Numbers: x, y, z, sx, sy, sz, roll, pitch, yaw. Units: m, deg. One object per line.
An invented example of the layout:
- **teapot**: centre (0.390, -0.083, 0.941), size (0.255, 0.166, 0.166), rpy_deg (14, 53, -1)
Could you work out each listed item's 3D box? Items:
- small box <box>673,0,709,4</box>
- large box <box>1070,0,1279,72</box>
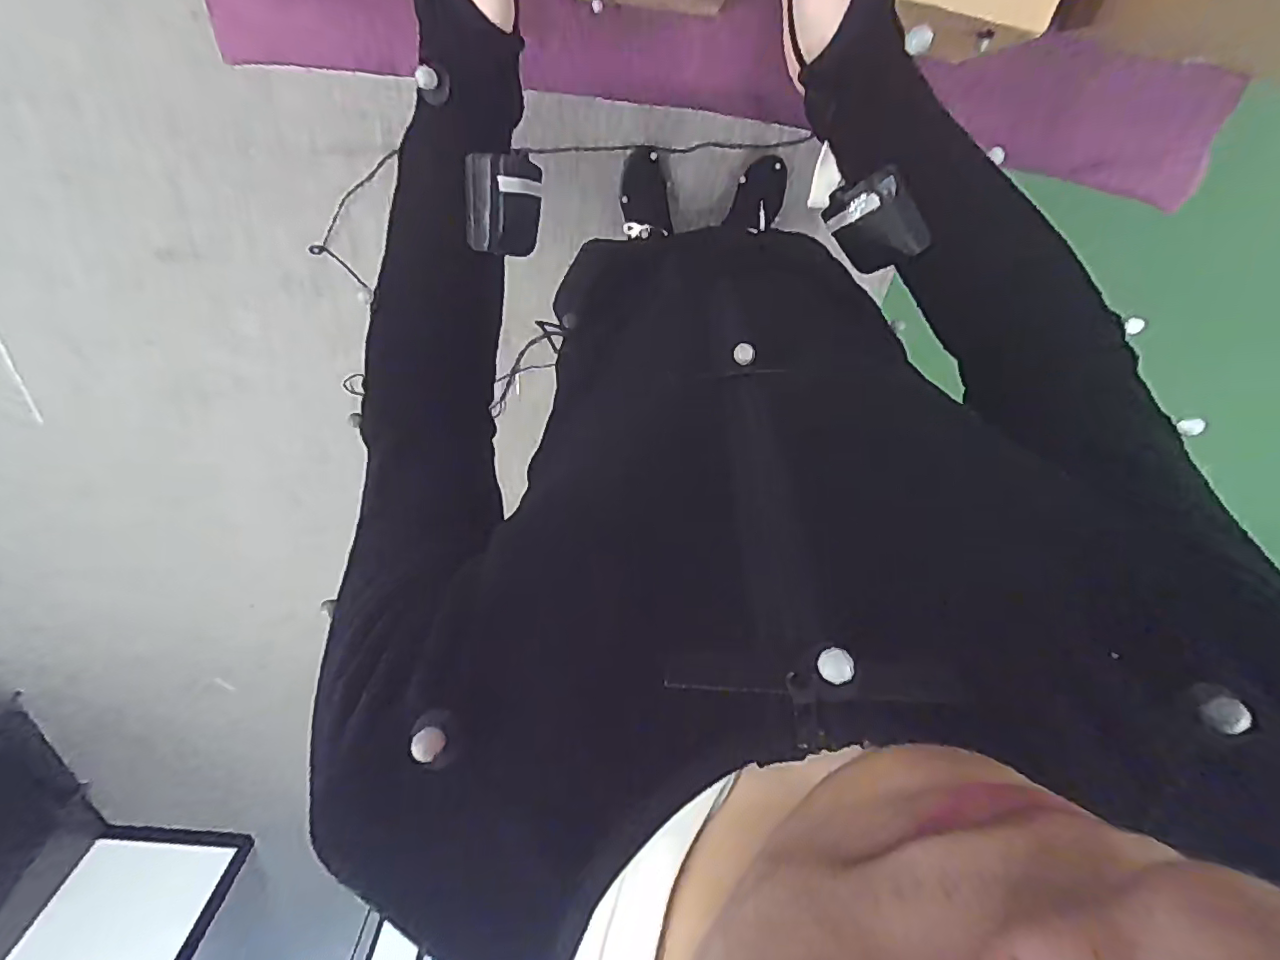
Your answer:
- **small box**: centre (0.008, -0.564, 0.487), size (0.168, 0.176, 0.179), rpy_deg (5, 121, -2)
- **large box**: centre (0.654, -0.576, 0.391), size (0.320, 0.320, 0.408), rpy_deg (9, 123, -3)
